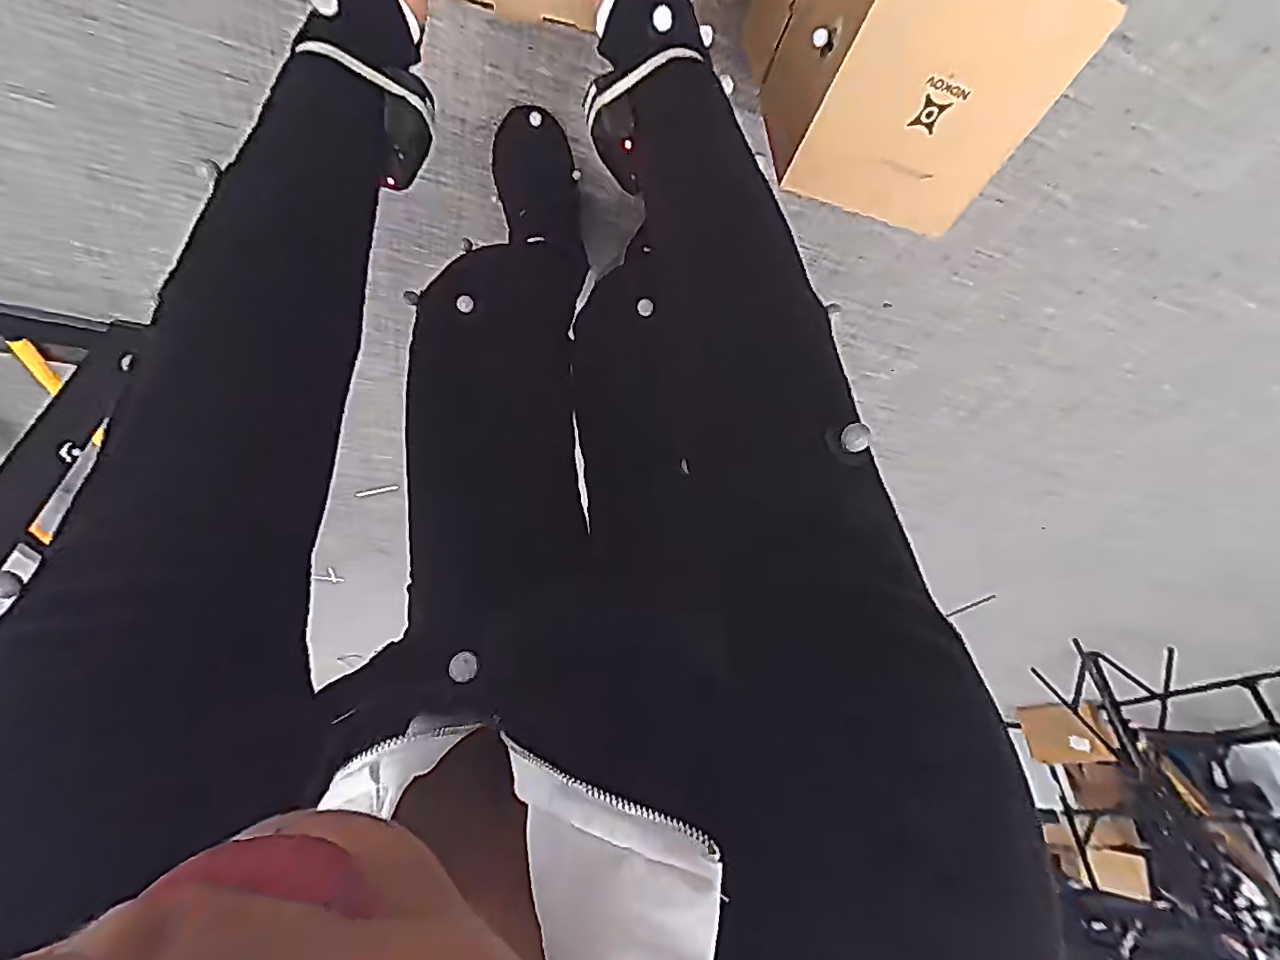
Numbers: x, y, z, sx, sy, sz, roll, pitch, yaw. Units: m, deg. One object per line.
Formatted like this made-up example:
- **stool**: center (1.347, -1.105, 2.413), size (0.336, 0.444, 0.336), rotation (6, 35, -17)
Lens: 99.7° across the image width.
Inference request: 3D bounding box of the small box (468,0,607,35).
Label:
- **small box**: center (-0.093, -0.533, 0.457), size (0.168, 0.176, 0.179), rotation (7, 147, -10)

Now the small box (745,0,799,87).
- **small box**: center (0.223, -0.483, 0.539), size (0.179, 0.176, 0.168), rotation (11, 146, -18)

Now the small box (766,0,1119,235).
- **small box**: center (0.218, -0.348, 0.449), size (0.168, 0.176, 0.179), rotation (10, 147, -13)
